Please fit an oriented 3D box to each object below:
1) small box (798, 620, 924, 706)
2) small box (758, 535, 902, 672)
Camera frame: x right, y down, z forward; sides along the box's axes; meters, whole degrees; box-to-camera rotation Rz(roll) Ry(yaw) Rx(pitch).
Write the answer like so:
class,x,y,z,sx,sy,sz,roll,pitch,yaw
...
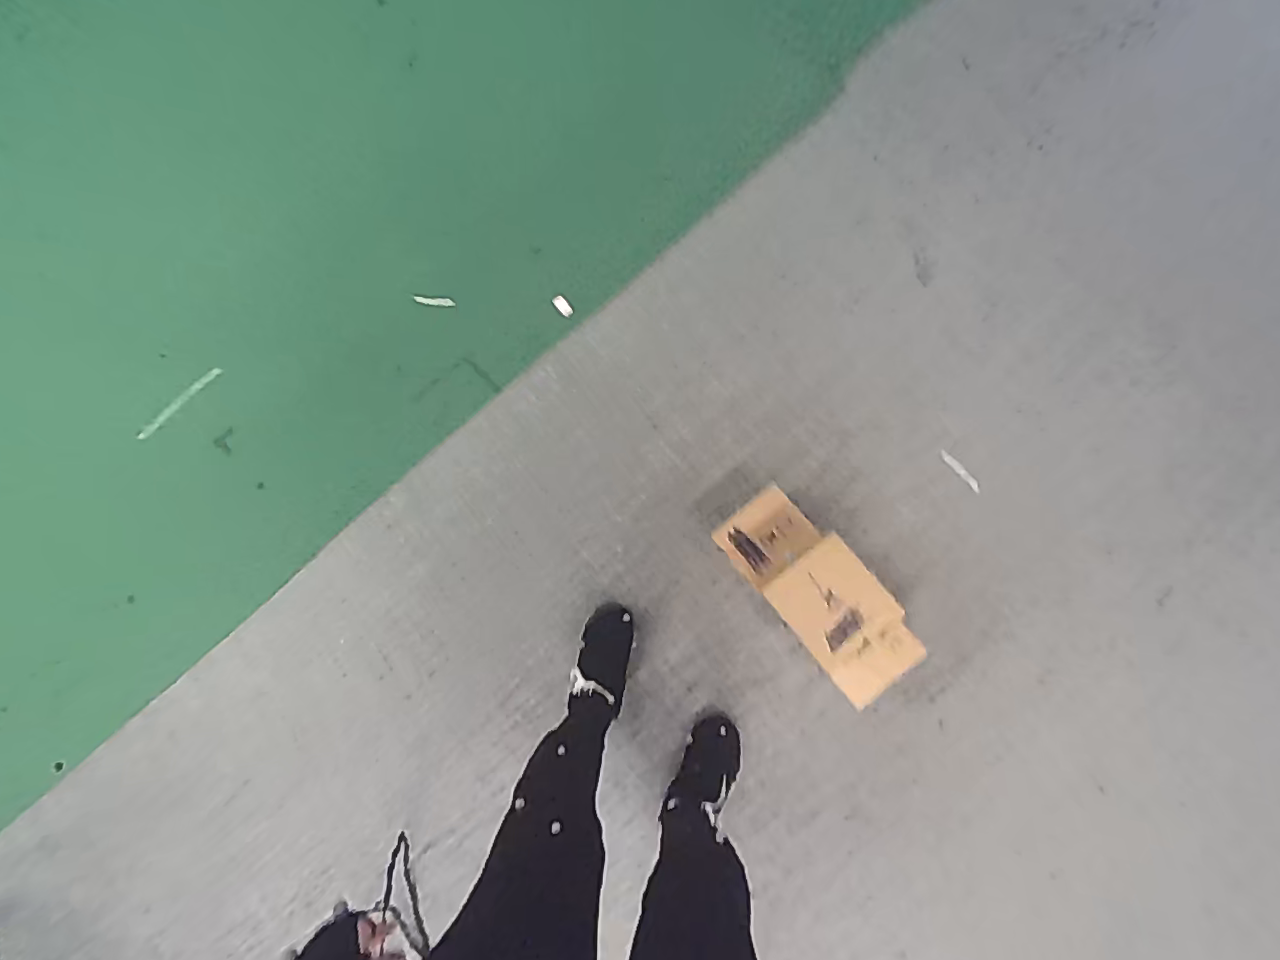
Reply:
class,x,y,z,sx,sy,sz,roll,pitch,yaw
small box,0.442,0.333,1.127,0.179,0.176,0.168,-40,78,1
small box,0.336,0.217,0.993,0.168,0.176,0.179,-39,77,2
